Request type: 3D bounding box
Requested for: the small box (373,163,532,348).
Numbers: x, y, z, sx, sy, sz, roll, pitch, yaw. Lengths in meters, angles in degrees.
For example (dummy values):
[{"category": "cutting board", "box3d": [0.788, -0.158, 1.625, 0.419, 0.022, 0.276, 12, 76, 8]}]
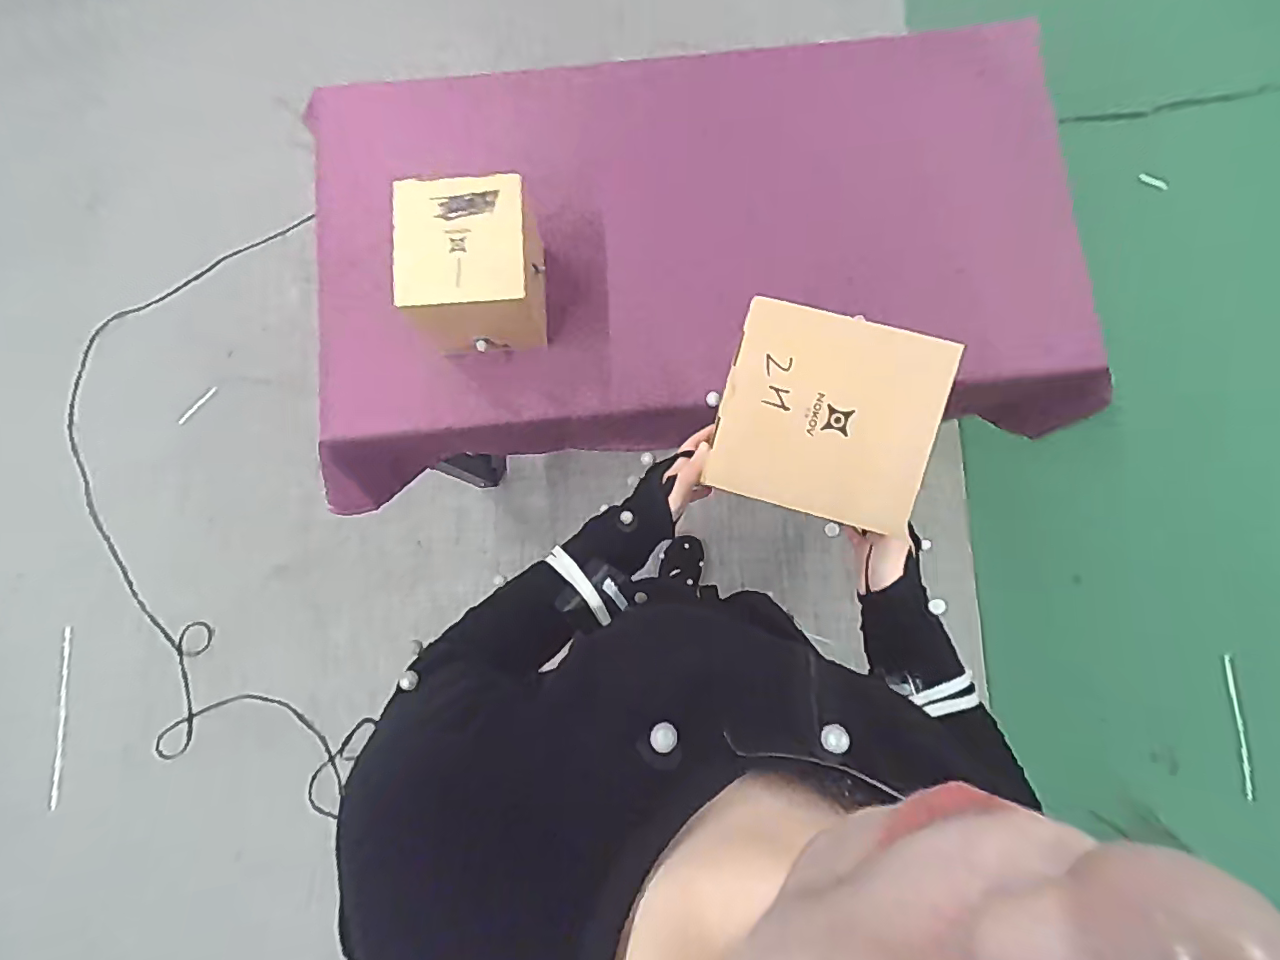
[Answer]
[{"category": "small box", "box3d": [-0.254, -0.306, 0.763, 0.168, 0.176, 0.179, -6, 84, 0]}]
